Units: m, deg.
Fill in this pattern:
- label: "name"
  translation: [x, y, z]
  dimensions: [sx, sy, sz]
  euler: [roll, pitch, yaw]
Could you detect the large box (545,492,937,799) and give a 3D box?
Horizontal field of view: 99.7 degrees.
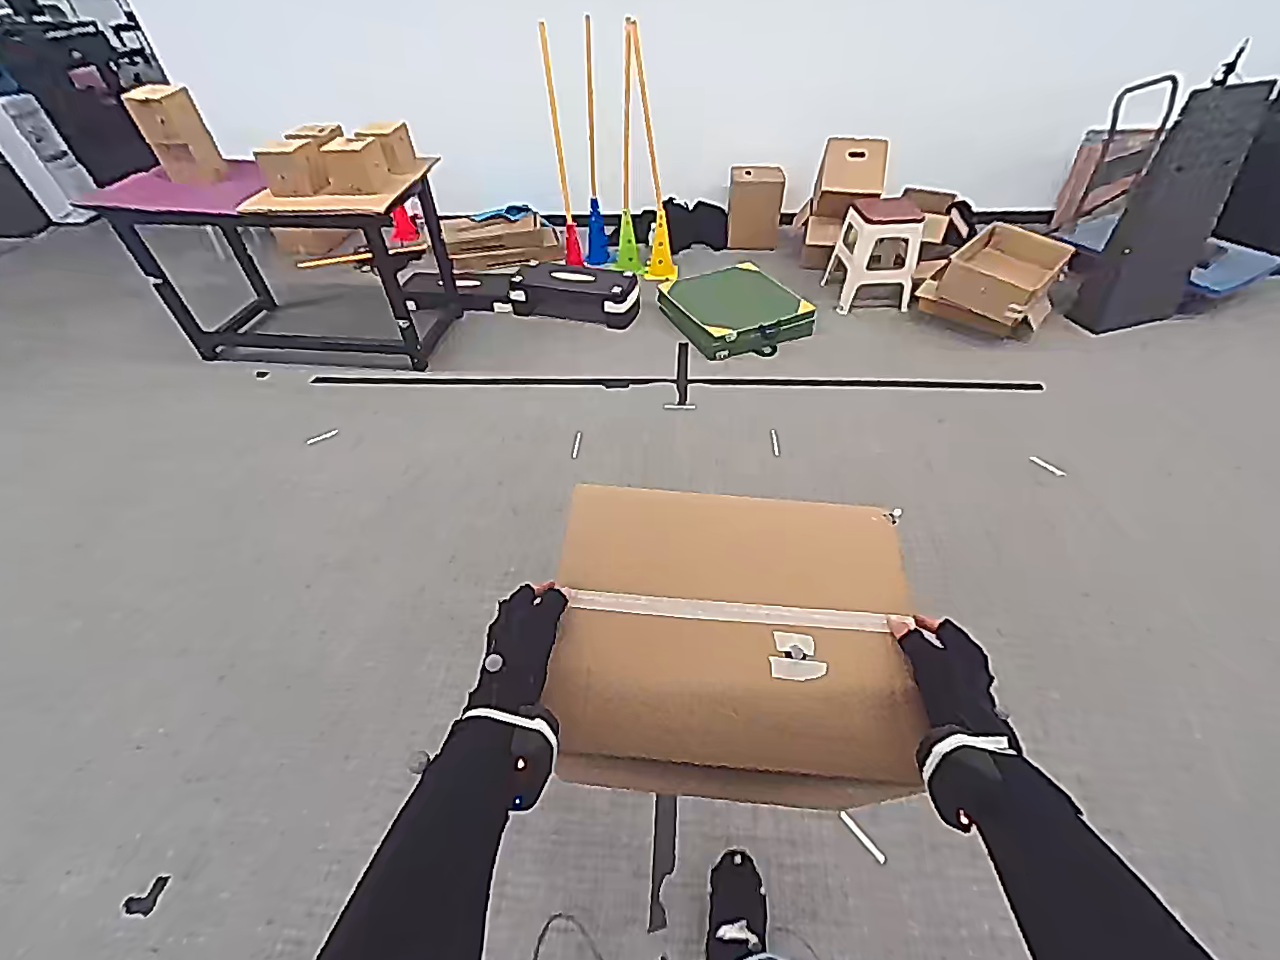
- label: "large box"
  translation: [0.105, 0.238, 0.746]
  dimensions: [0.408, 0.320, 0.320]
  euler: [4, 55, 2]
